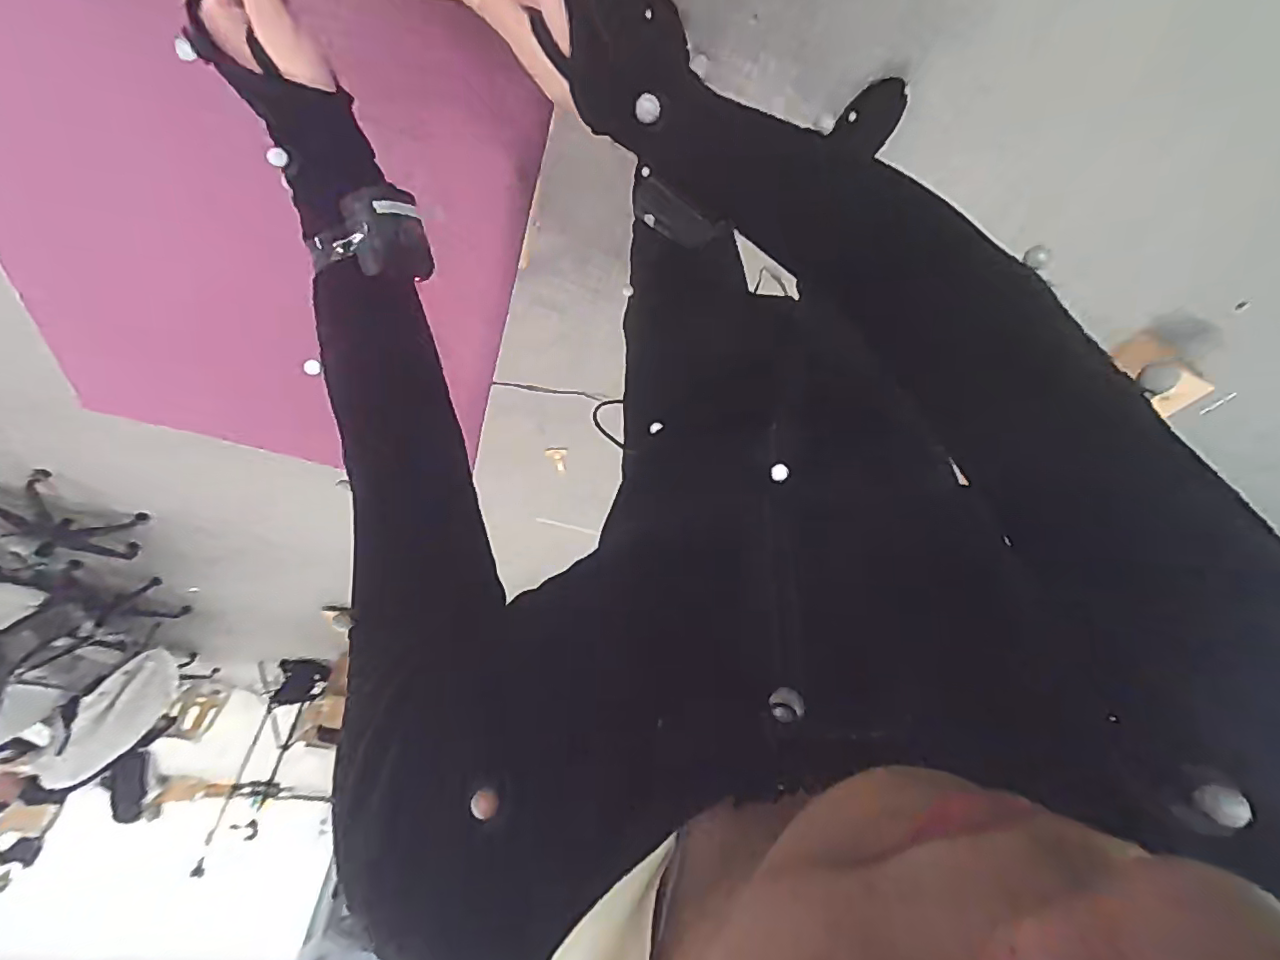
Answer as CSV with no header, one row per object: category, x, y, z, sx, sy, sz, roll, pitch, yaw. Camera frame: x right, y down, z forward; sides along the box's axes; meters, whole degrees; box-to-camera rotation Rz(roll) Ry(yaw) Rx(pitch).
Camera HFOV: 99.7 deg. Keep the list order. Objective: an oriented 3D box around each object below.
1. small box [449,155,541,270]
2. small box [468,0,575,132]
small box,-0.332,-0.622,1.257,0.179,0.176,0.168,10,141,-9
small box,-0.222,-0.806,1.022,0.168,0.176,0.179,12,141,-10
